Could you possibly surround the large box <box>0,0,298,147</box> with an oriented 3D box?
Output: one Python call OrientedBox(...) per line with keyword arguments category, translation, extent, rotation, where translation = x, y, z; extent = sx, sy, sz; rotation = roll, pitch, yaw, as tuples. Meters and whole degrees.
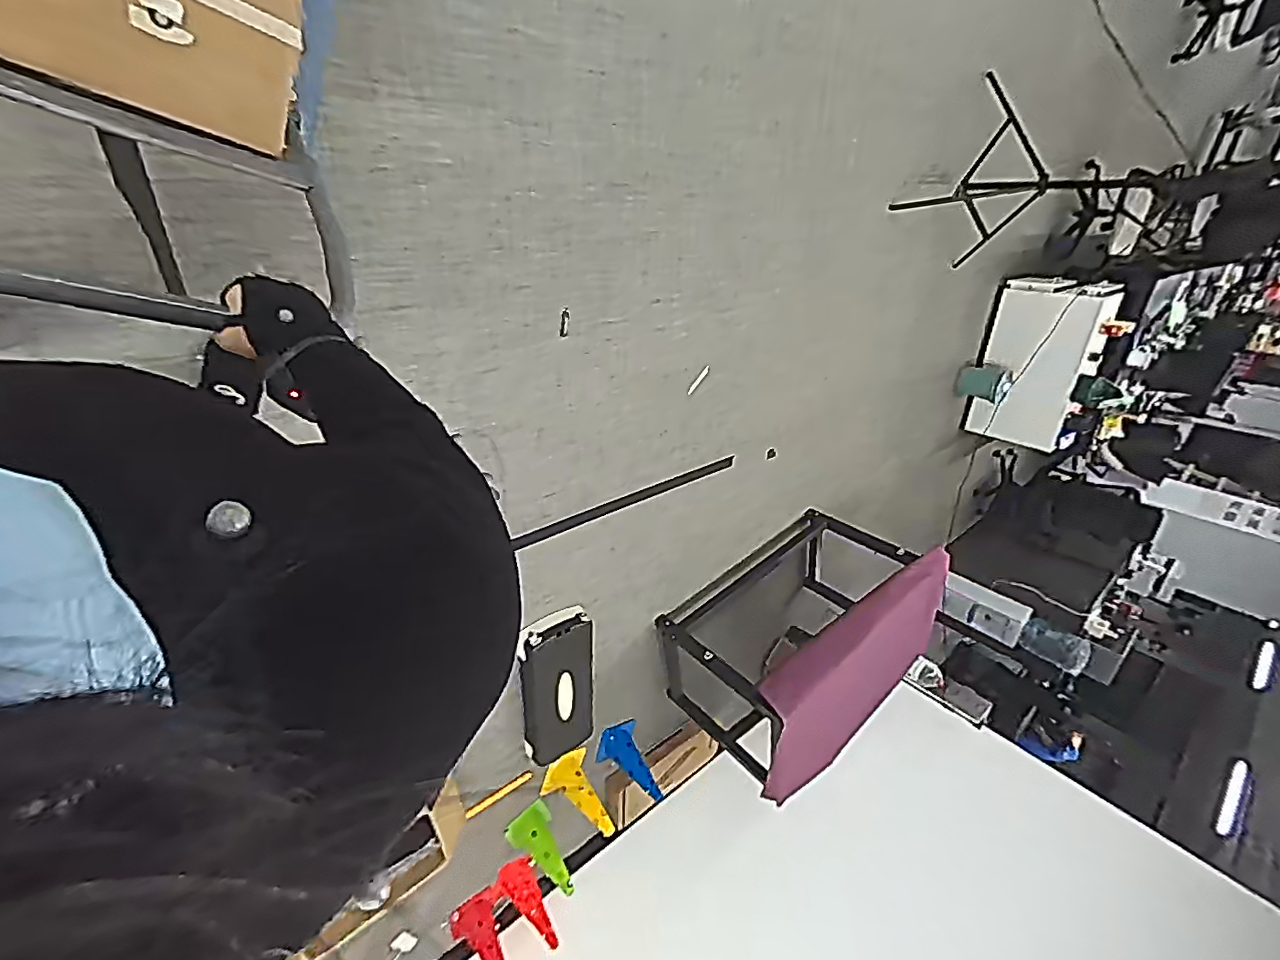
OrientedBox(category="large box", translation=(-0.692, -0.703, 0.679), extent=(0.408, 0.320, 0.320), rotation=(1, 130, -44))
